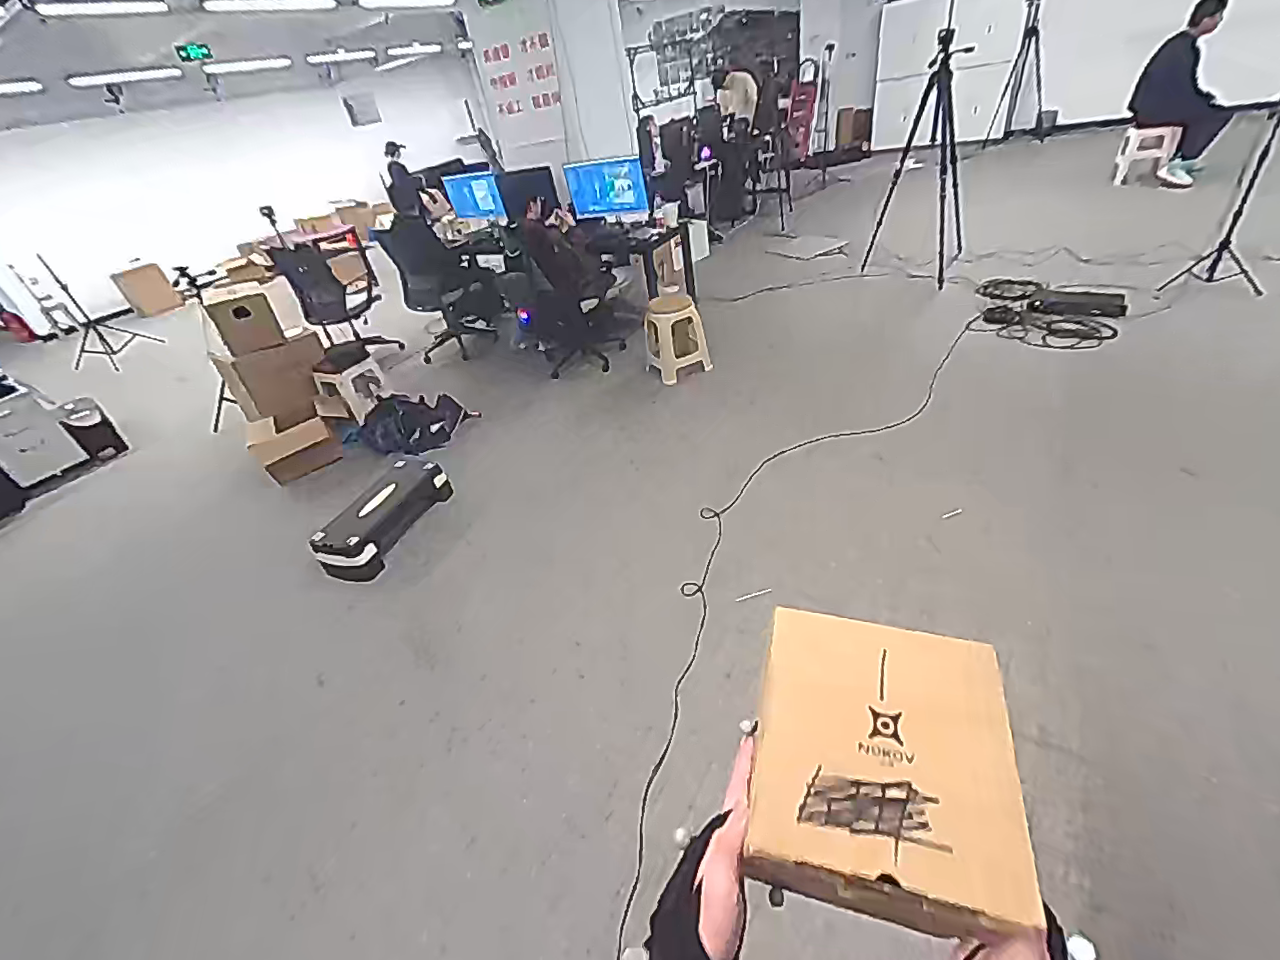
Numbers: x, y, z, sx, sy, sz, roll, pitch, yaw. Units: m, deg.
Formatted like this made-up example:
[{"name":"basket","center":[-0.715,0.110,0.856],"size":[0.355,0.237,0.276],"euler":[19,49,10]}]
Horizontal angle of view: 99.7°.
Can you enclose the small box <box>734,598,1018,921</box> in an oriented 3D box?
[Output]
[{"name":"small box","center":[0.171,0.227,0.441],"size":[0.168,0.176,0.179],"euler":[9,50,14]}]
